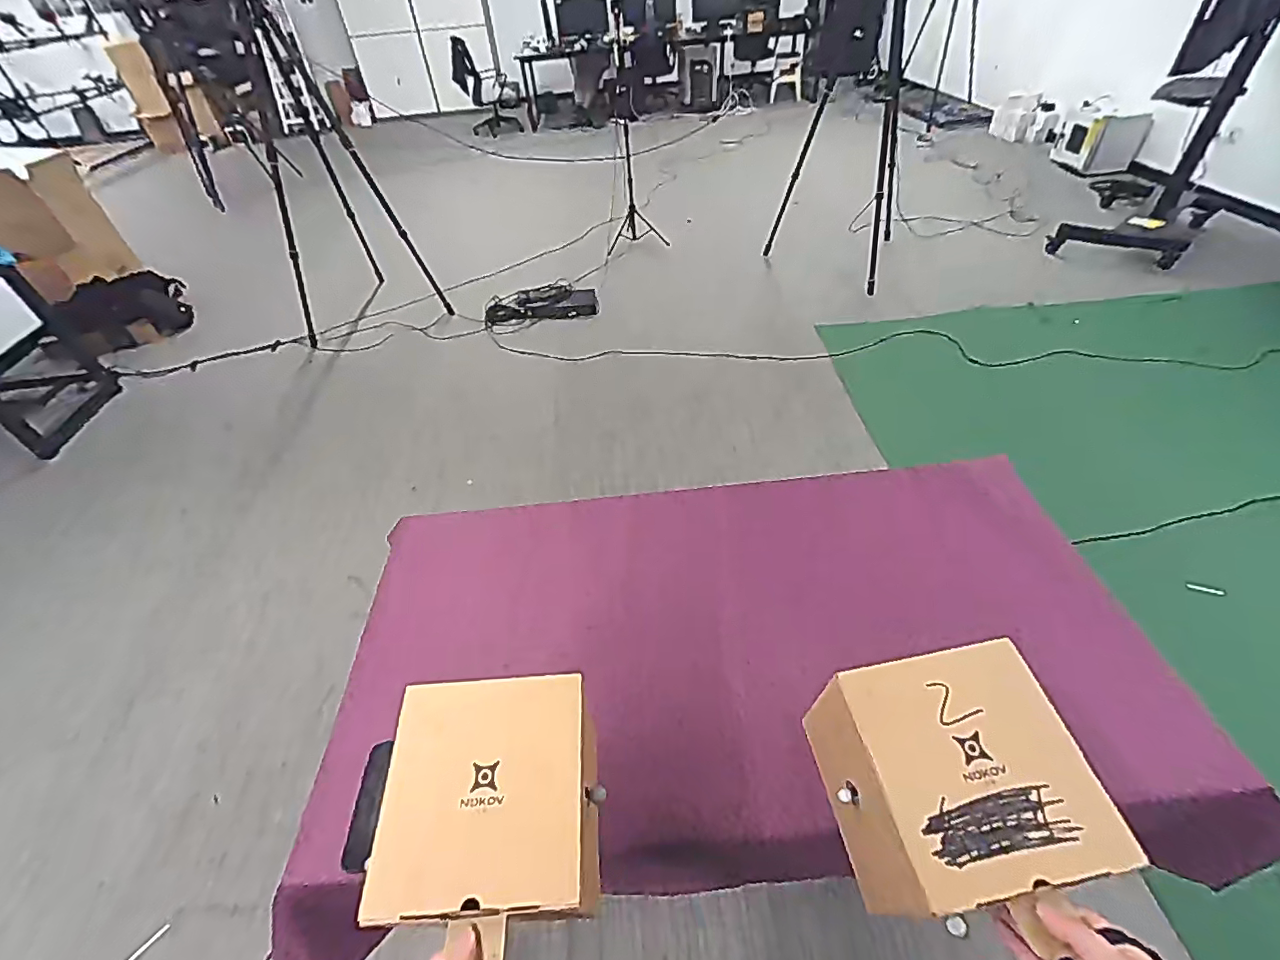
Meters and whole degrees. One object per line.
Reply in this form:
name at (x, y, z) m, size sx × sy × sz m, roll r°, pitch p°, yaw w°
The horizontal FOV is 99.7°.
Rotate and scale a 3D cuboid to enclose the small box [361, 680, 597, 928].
small box at (-0.131, 0.311, 0.518) m, size 0.168 × 0.176 × 0.179 m, roll -3°, pitch 51°, yaw -1°
